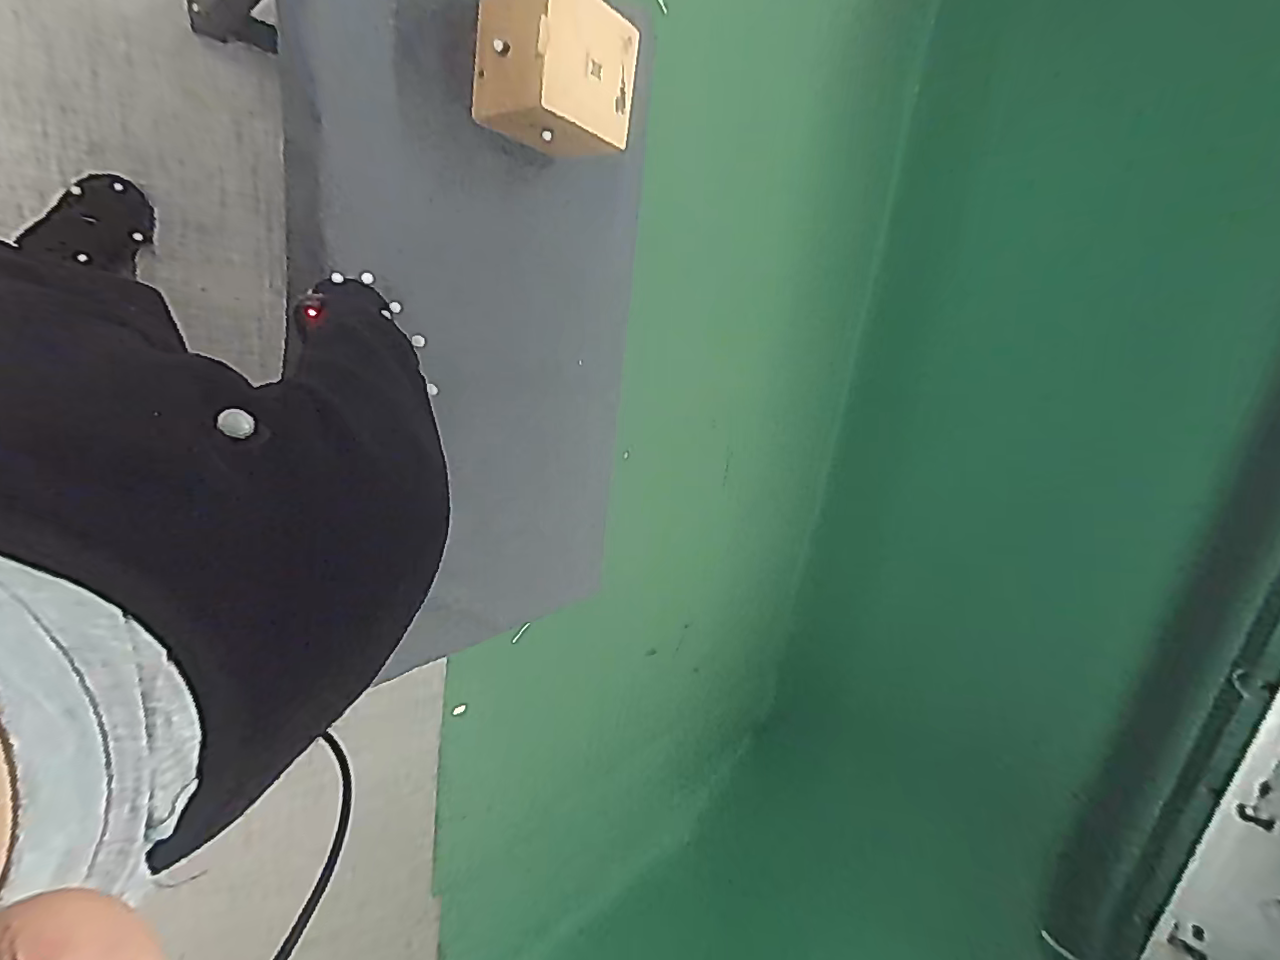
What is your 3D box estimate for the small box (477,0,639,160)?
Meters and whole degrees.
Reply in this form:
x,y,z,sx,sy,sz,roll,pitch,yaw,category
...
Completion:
x,y,z,sx,sy,sz,roll,pitch,yaw,category
-0.129,-0.609,0.826,0.179,0.176,0.168,-8,112,-48,small box
